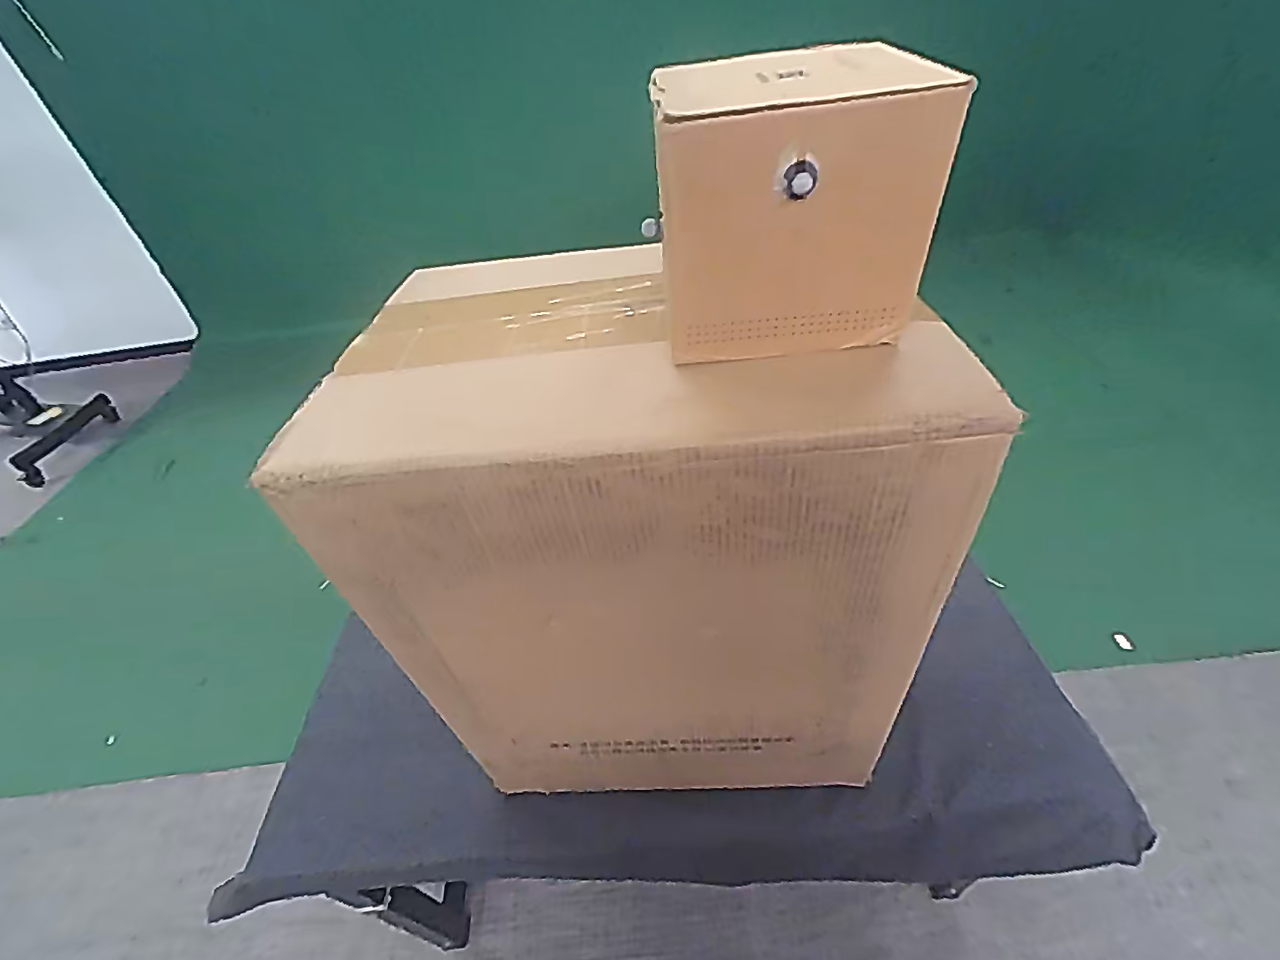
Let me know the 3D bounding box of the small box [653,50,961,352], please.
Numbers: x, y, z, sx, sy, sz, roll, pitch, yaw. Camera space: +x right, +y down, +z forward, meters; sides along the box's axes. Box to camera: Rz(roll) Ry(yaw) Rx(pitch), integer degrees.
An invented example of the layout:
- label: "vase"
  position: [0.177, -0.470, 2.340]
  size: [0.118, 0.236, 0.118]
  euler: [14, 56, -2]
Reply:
- label: "small box"
  position: [0.104, -0.213, 0.422]
  size: [0.179, 0.176, 0.168]
  euler: [-3, 45, 2]
